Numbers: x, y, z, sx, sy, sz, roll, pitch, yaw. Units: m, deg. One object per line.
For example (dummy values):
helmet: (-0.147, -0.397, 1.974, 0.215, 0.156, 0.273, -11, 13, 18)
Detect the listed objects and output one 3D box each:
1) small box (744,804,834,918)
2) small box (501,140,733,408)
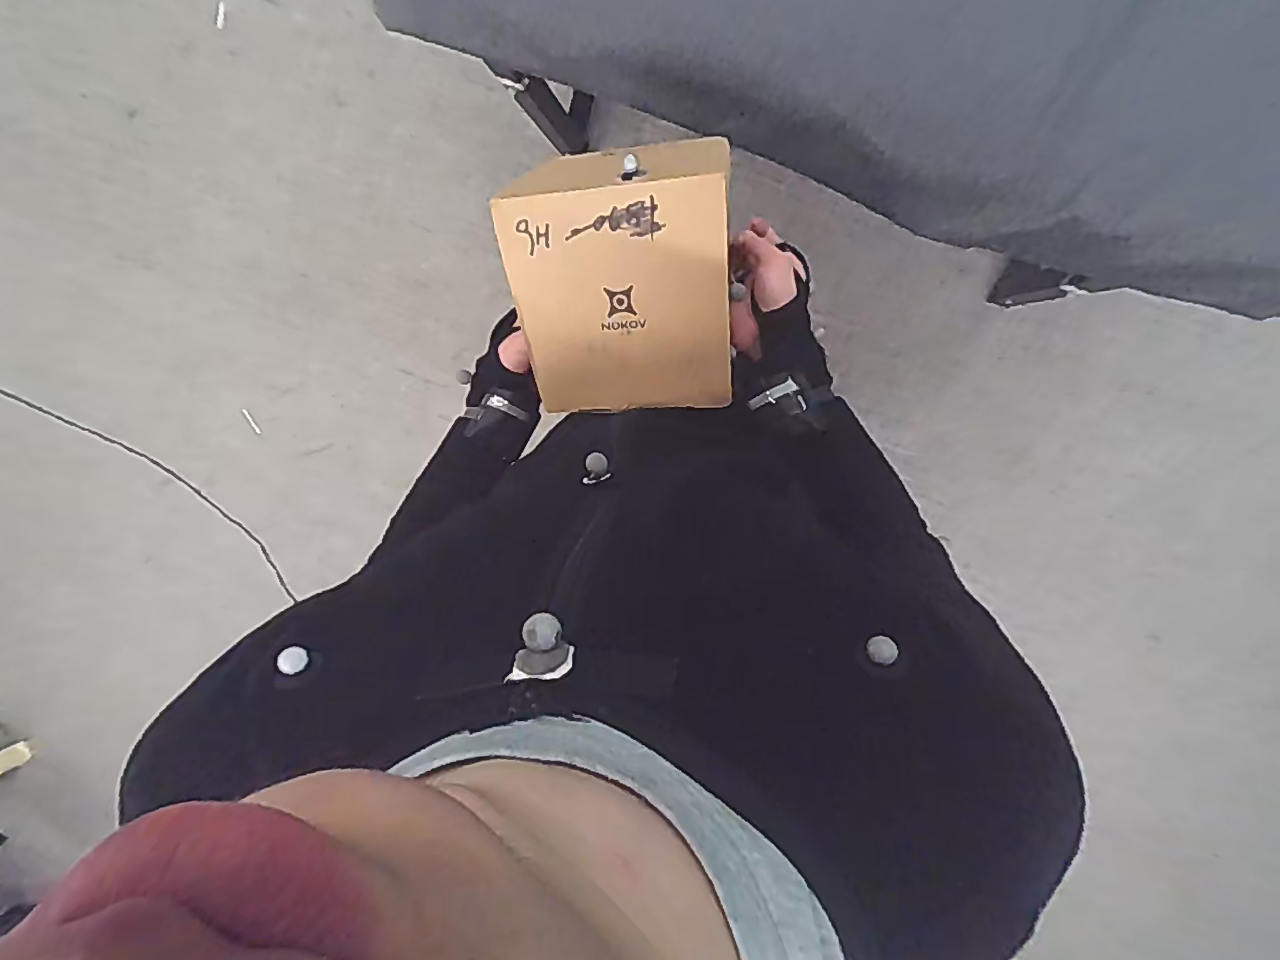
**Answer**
small box: (0.416, 1.079, 1.544, 0.179, 0.176, 0.168, 34, 104, -1)
small box: (-0.001, -0.184, 0.487, 0.168, 0.176, 0.179, -1, 130, 9)
